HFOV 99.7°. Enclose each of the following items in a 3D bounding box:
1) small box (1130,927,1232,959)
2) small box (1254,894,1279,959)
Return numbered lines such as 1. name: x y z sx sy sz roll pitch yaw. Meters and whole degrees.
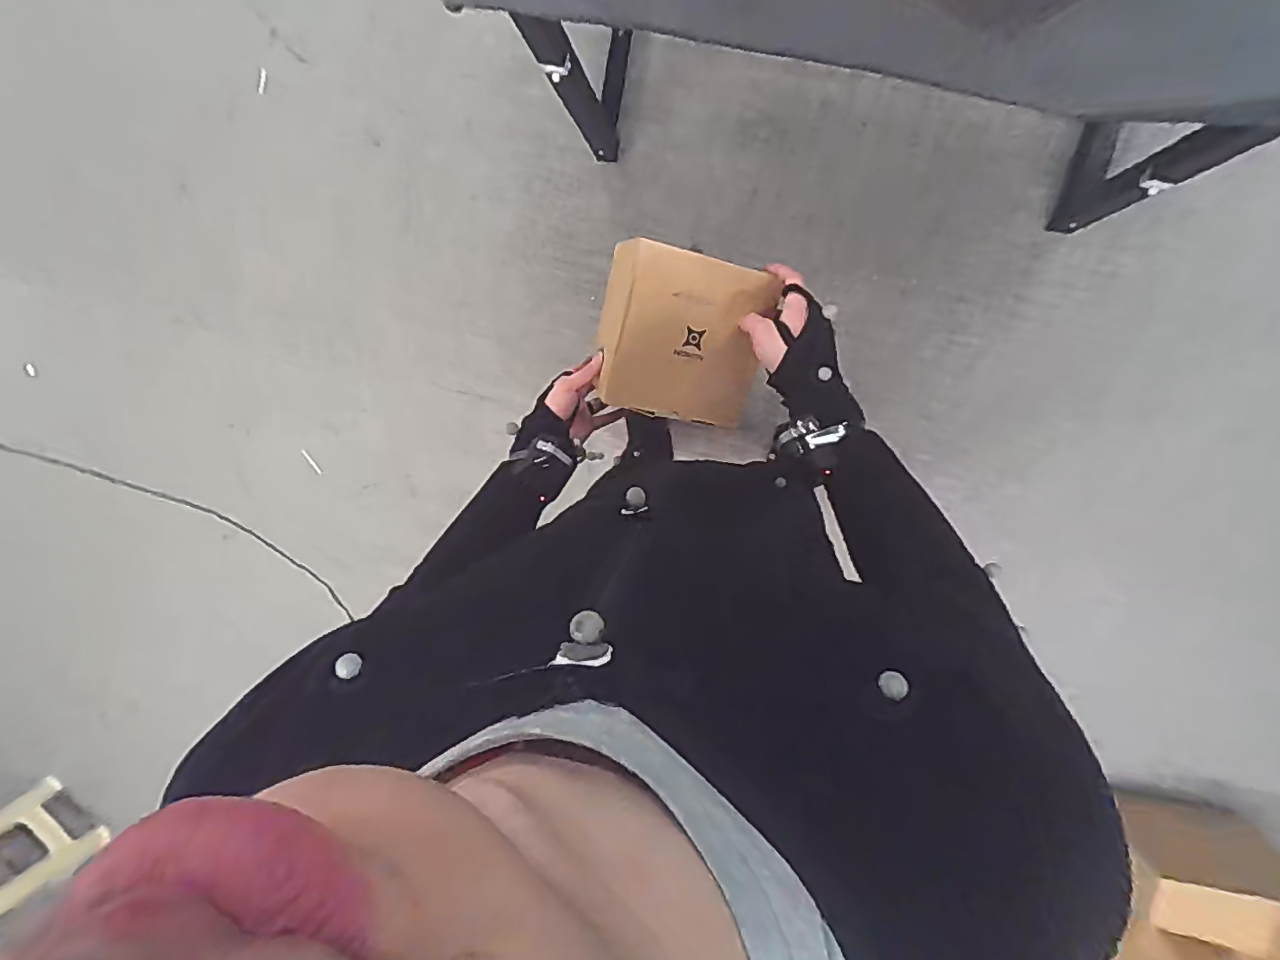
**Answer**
1. small box: 1.191 1.110 1.147 0.168 0.176 0.179 13 102 6
2. small box: 1.430 1.002 1.097 0.168 0.176 0.179 11 97 6
